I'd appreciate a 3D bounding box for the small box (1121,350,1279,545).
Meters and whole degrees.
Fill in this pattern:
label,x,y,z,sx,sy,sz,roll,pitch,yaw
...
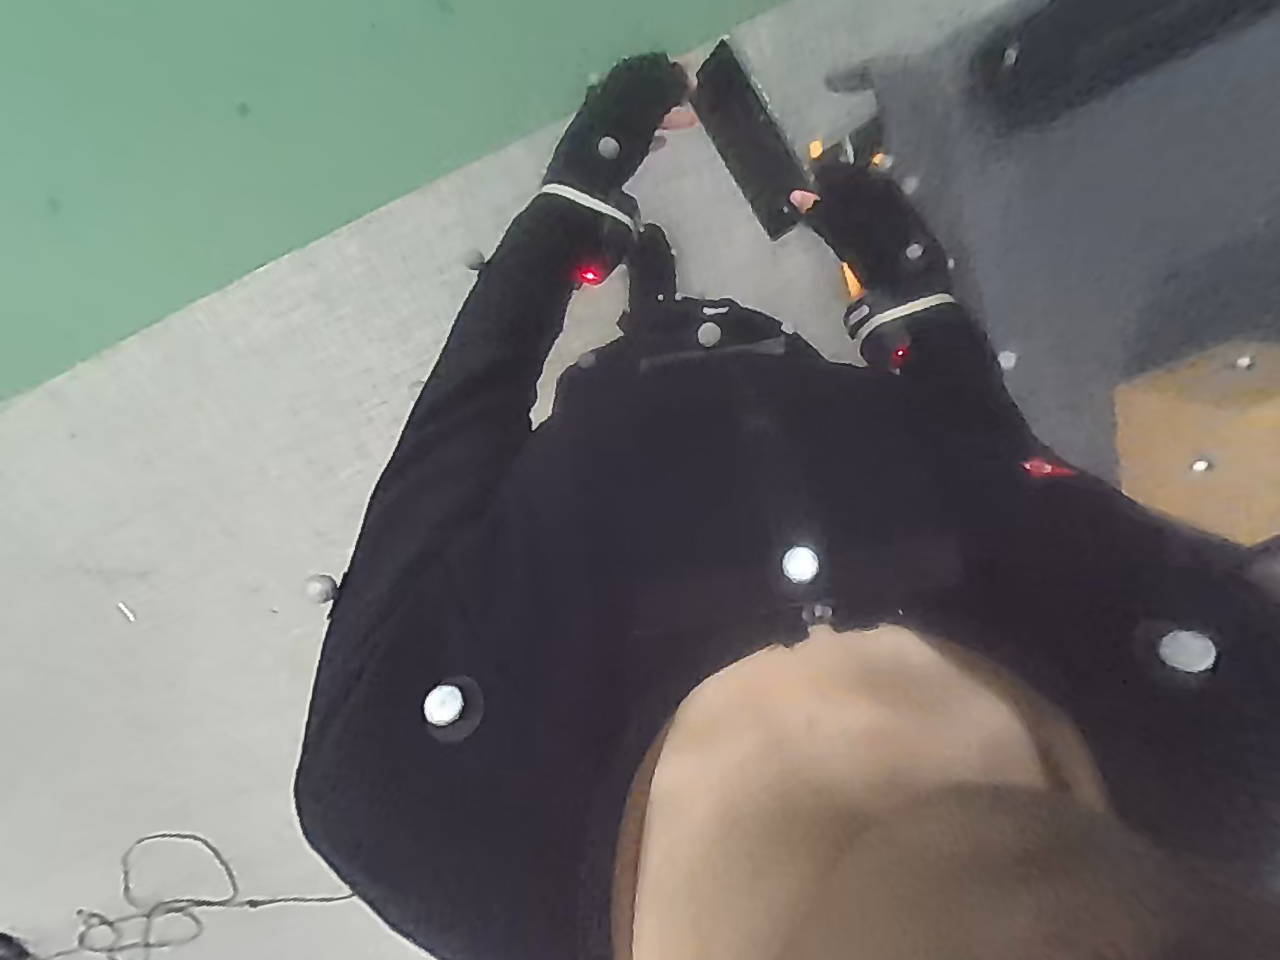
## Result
label,x,y,z,sx,sy,sz,roll,pitch,yaw
small box,0.745,-0.052,0.666,0.168,0.176,0.179,-20,108,5
